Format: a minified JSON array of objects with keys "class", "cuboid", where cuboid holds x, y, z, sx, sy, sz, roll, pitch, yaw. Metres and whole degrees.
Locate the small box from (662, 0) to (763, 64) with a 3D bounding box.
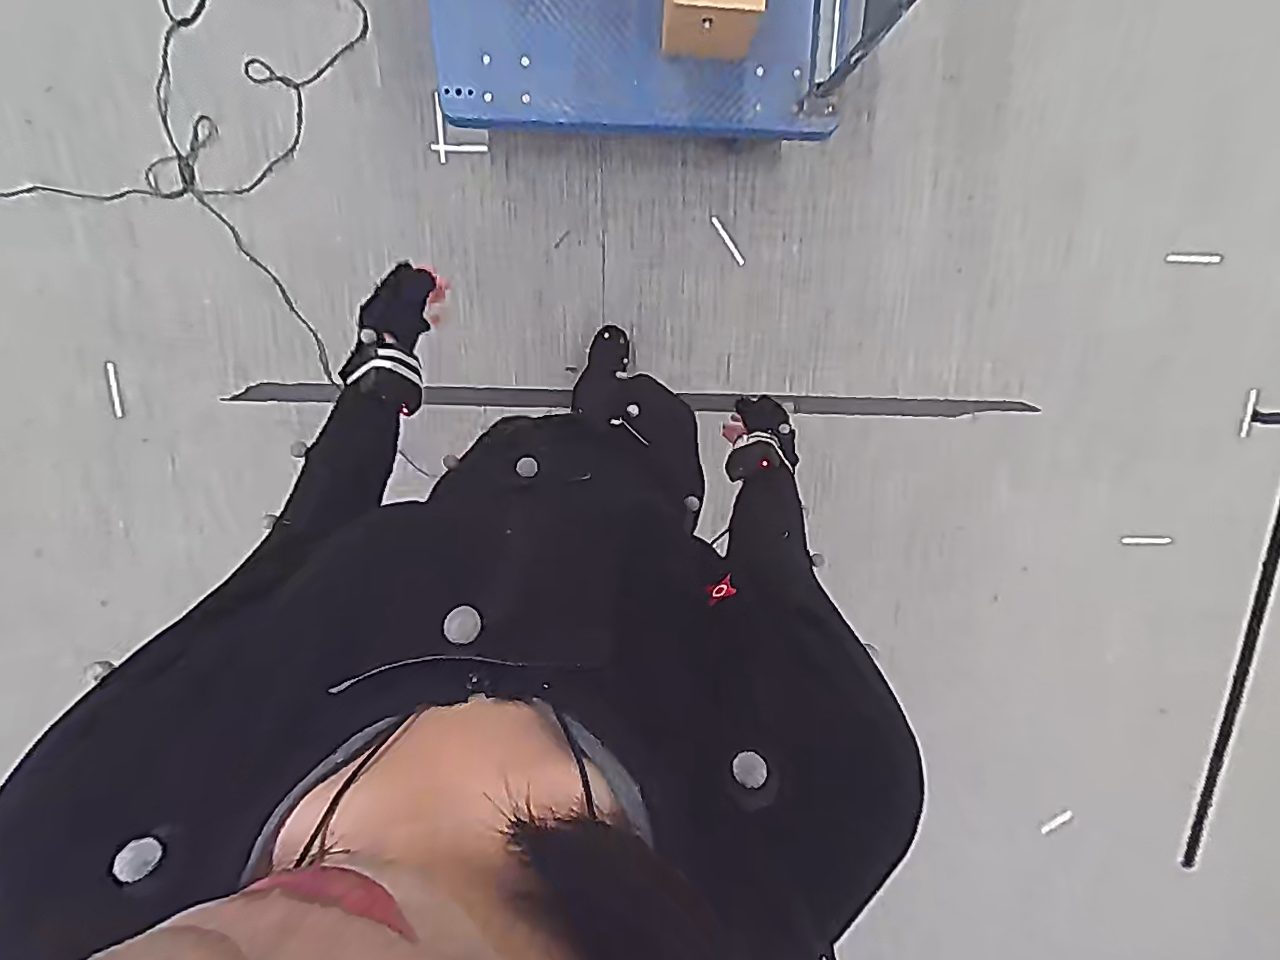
[{"class":"small box","cuboid":[0.138,-0.950,1.053,0.179,0.176,0.168,2,101,-4]}]
